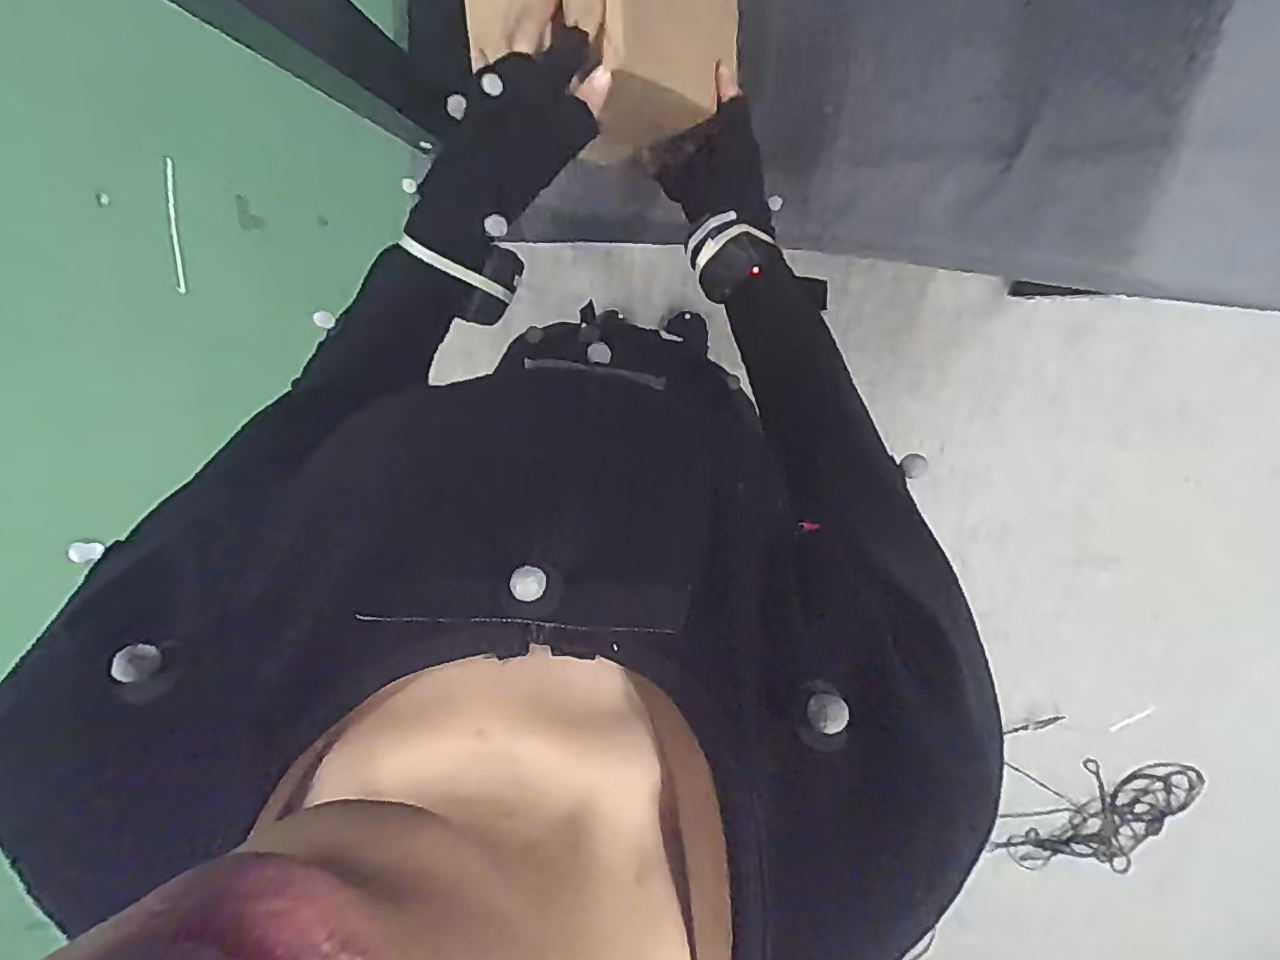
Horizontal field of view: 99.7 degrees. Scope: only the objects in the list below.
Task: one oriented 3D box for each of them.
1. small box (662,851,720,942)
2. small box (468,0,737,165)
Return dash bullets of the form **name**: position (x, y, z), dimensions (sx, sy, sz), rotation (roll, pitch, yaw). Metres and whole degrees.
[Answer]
- **small box**: position (0.174, 1.435, 1.869), dimensions (0.168, 0.176, 0.179), rotation (9, 107, 1)
- **small box**: position (-0.031, -0.400, 0.459), dimensions (0.168, 0.176, 0.179), rotation (8, 108, 37)
